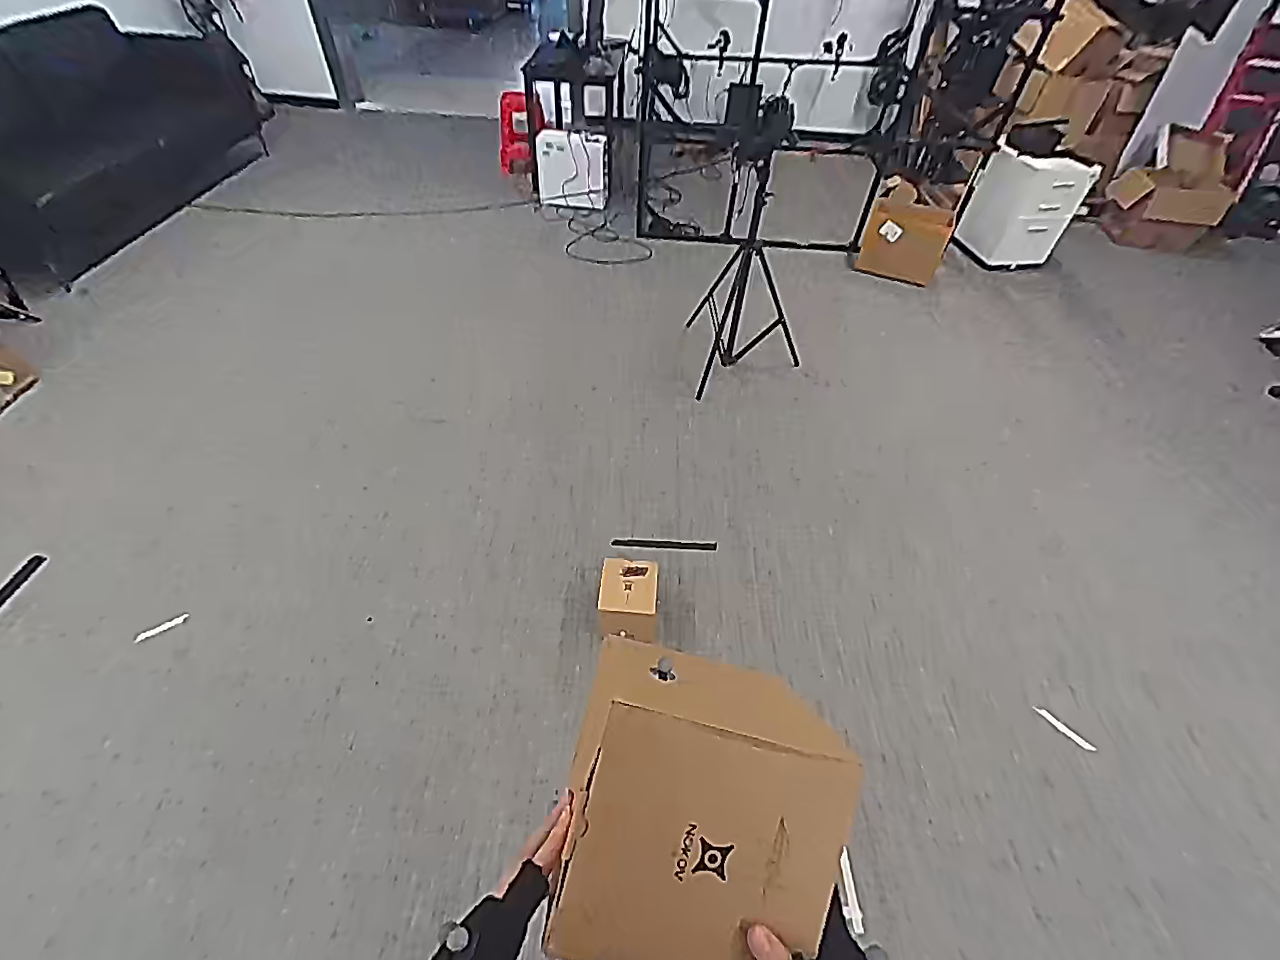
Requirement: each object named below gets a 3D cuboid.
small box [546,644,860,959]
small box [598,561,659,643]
[{"bbox_3d":[0.037,0.244,0.430,0.179,0.176,0.168,15,88,-5],"label":"small box"},{"bbox_3d":[-0.035,0.369,1.631,0.168,0.176,0.179,5,48,1],"label":"small box"}]
